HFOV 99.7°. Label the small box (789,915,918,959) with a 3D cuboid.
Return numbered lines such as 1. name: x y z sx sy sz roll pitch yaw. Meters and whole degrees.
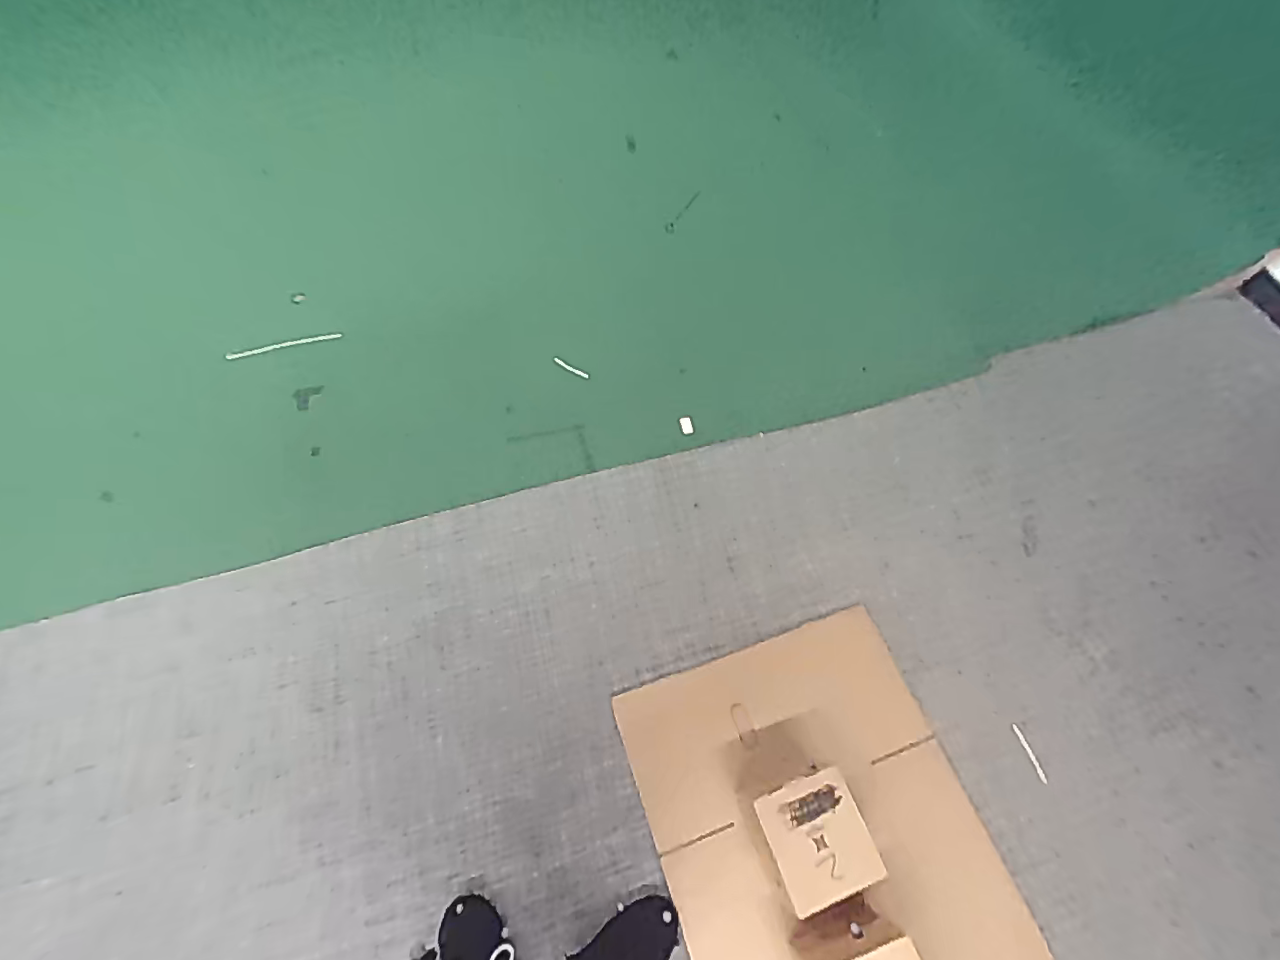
1. small box: 0.362 0.836 0.864 0.168 0.176 0.179 -16 65 -9
